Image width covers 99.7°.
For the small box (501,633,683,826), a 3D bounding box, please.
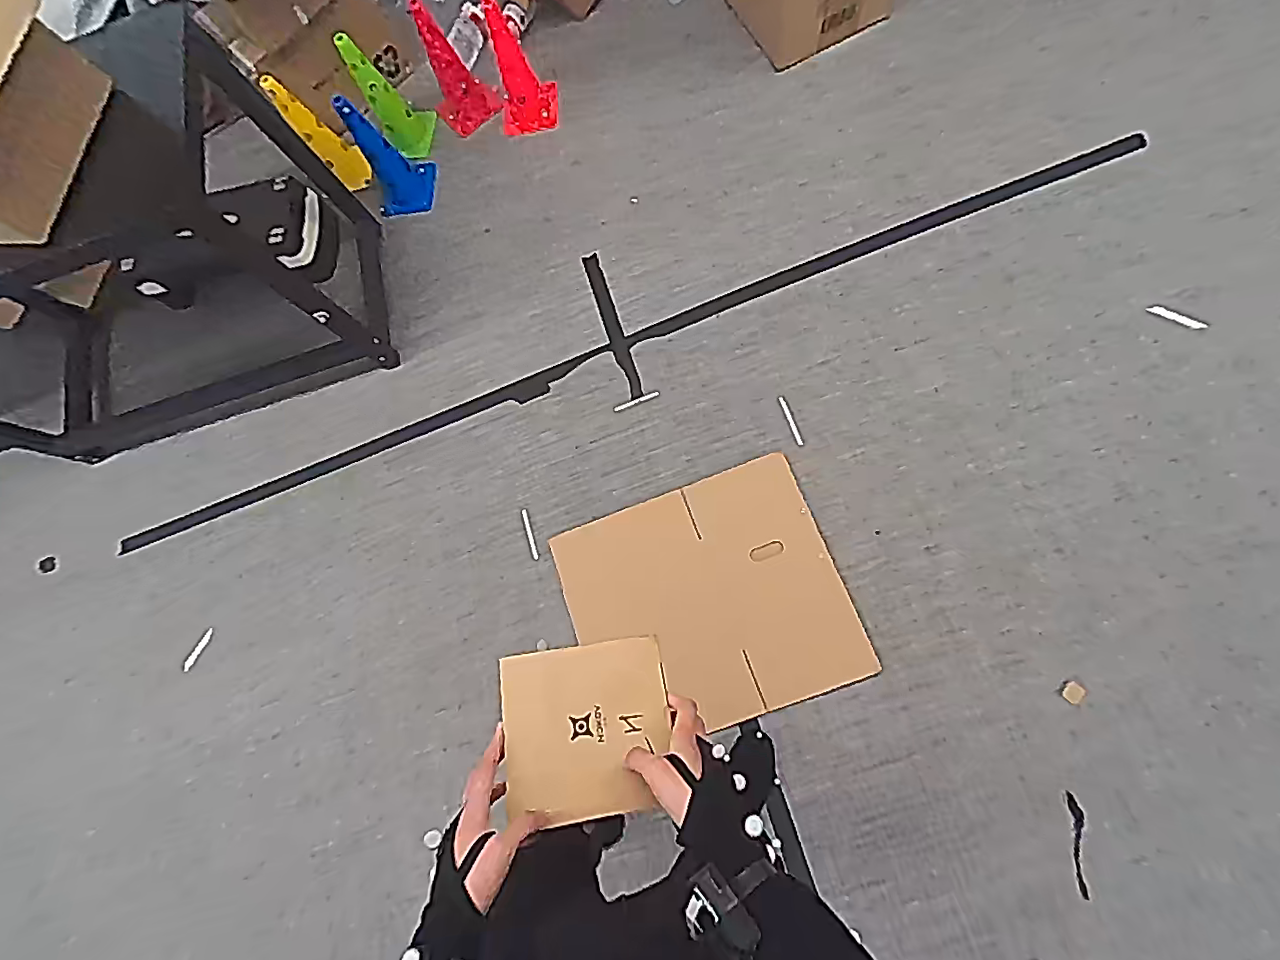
[{"bbox_3d":[-0.060,0.287,0.631,0.179,0.176,0.168,-5,65,-9],"label":"small box"}]
